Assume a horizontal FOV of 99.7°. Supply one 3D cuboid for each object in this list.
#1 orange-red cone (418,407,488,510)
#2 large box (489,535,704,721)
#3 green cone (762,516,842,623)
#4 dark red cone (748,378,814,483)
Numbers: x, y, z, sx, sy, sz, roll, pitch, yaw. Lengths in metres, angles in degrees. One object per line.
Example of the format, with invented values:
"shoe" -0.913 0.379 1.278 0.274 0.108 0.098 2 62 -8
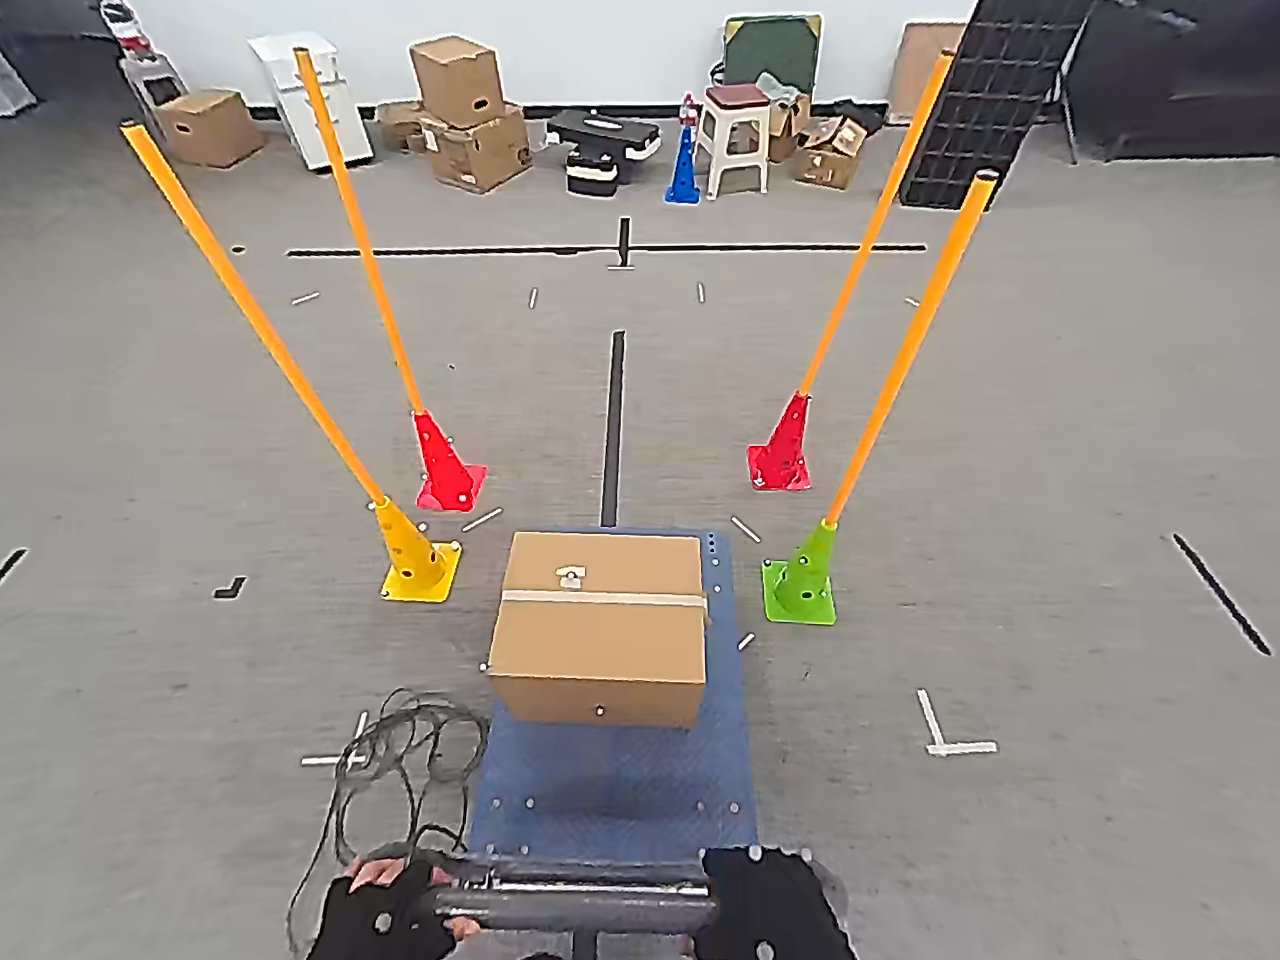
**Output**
"orange-red cone" -0.637 -0.093 1.728 0.198 0.360 0.199 7 50 4
"large box" -0.074 0.335 1.200 0.408 0.320 0.320 2 51 2
"green cone" 0.471 0.220 1.478 0.202 0.368 0.200 4 51 1
"dark red cone" 0.494 -0.168 1.768 0.201 0.394 0.202 1 52 -2
